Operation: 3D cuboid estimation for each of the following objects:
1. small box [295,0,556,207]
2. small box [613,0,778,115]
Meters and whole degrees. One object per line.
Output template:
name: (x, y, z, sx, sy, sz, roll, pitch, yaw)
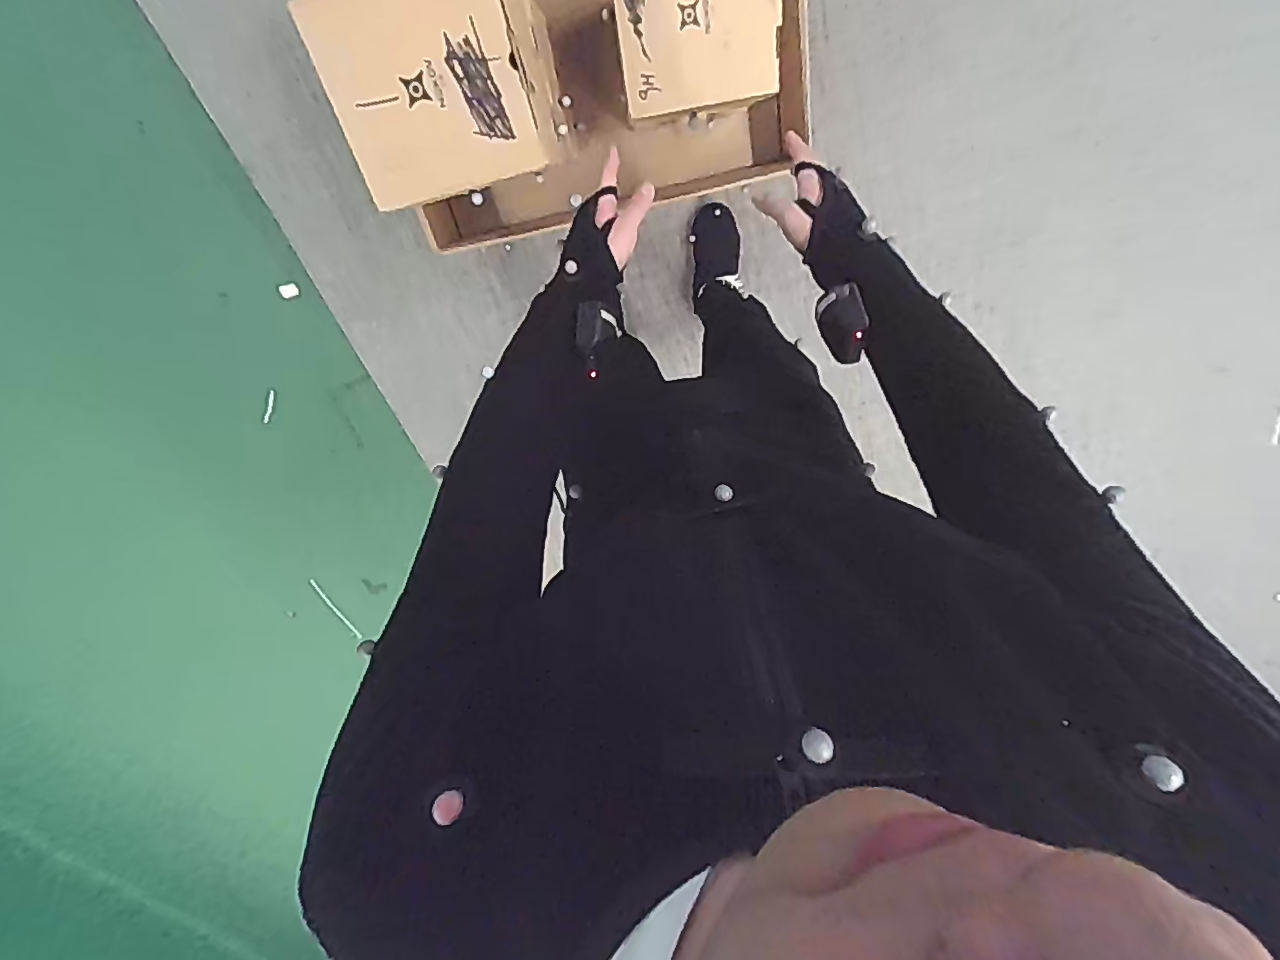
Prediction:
small box: (-0.193, -0.399, 0.557, 0.179, 0.176, 0.168, -11, 121, 8)
small box: (0.060, -0.550, 0.649, 0.179, 0.176, 0.168, -7, 122, 6)
